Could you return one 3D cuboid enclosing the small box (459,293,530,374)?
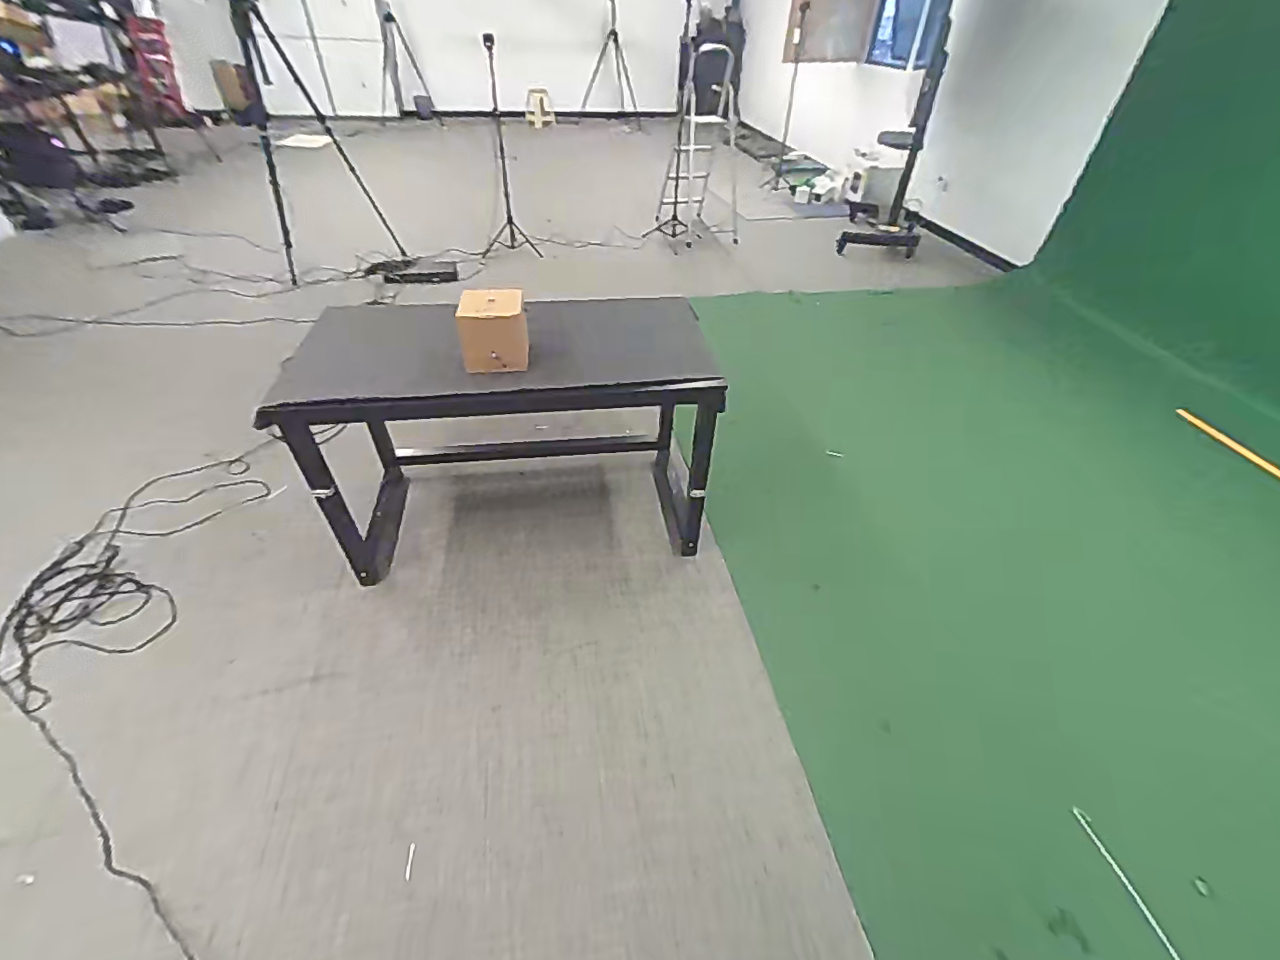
[{"bbox_3d":[-0.402,-0.413,1.519,0.168,0.176,0.179,-3,41,-6],"label":"small box"}]
